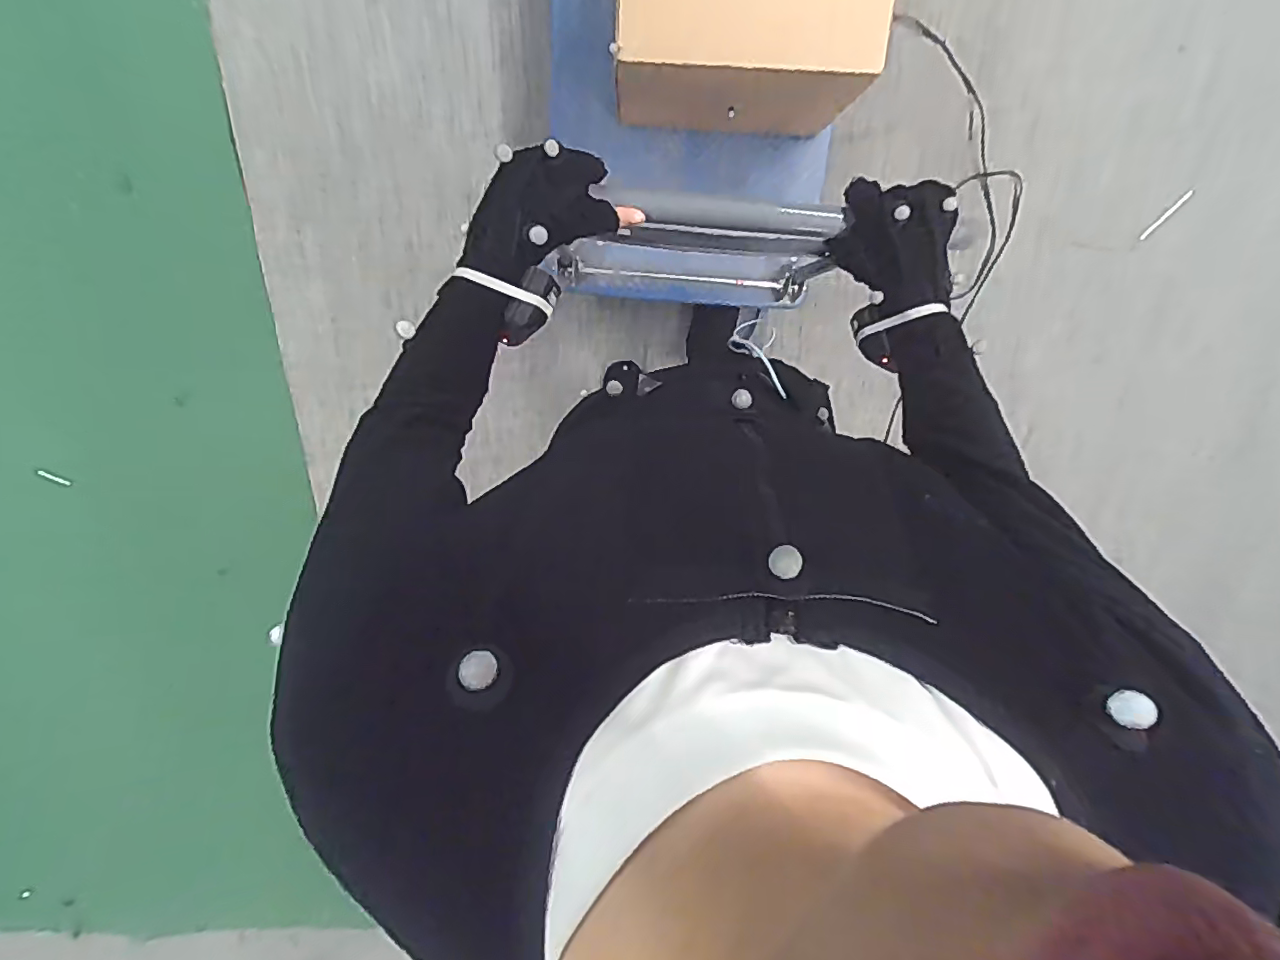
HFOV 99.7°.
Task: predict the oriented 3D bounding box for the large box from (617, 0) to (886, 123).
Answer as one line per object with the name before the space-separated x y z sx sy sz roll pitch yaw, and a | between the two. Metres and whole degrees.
large box | 0.169 -0.826 0.915 0.408 0.320 0.320 1 108 0
